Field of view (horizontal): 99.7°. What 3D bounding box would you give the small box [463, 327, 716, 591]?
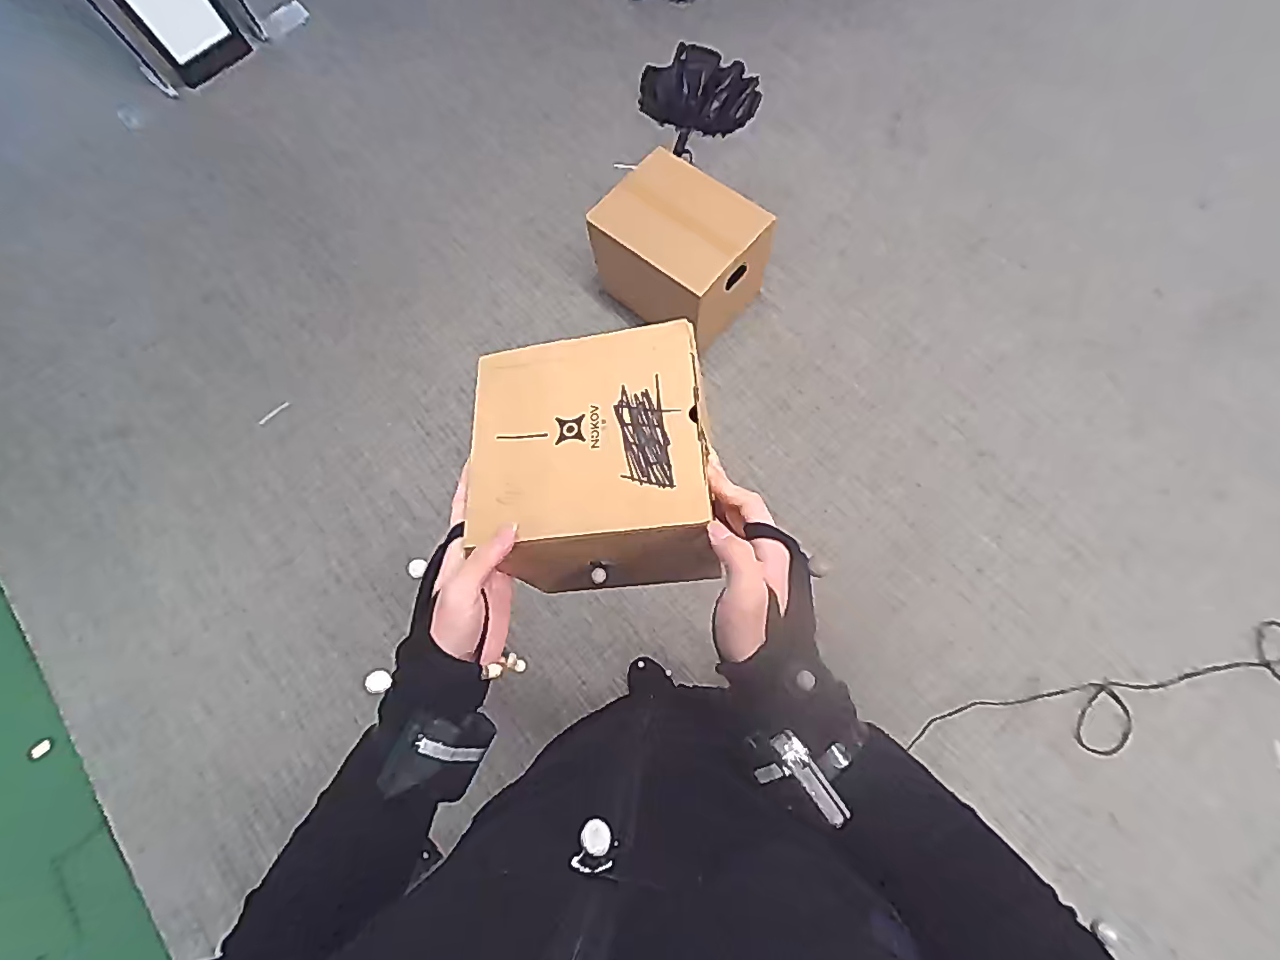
[{"bbox_3d":[-0.028,-0.004,0.470,0.179,0.176,0.168,-7,66,10],"label":"small box"}]
